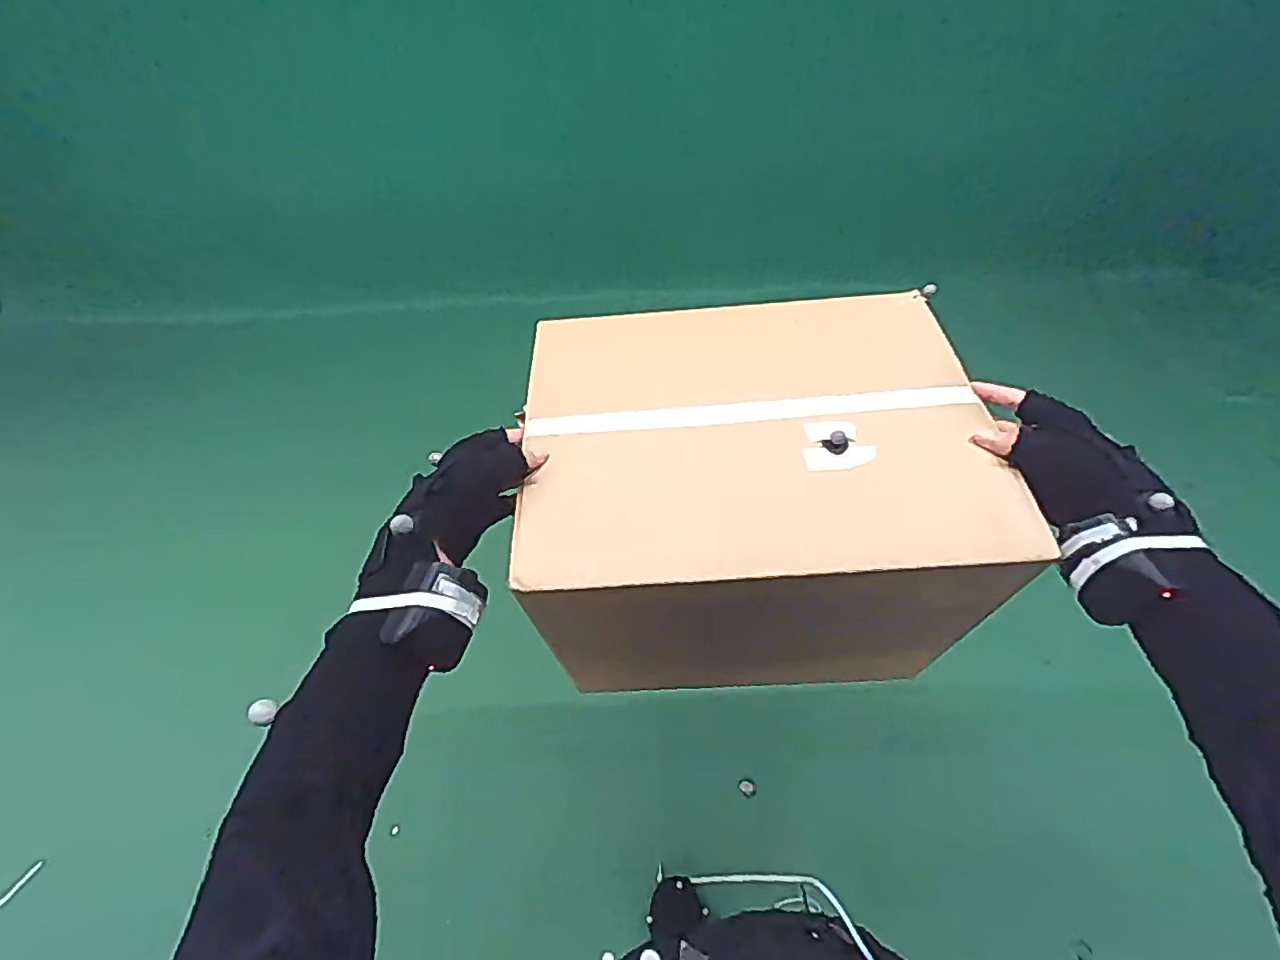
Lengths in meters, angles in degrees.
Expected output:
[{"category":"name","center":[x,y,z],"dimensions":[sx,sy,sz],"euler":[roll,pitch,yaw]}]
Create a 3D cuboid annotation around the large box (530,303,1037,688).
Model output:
[{"category":"large box","center":[0.110,0.032,0.624],"dimensions":[0.408,0.320,0.320],"euler":[-4,55,2]}]
